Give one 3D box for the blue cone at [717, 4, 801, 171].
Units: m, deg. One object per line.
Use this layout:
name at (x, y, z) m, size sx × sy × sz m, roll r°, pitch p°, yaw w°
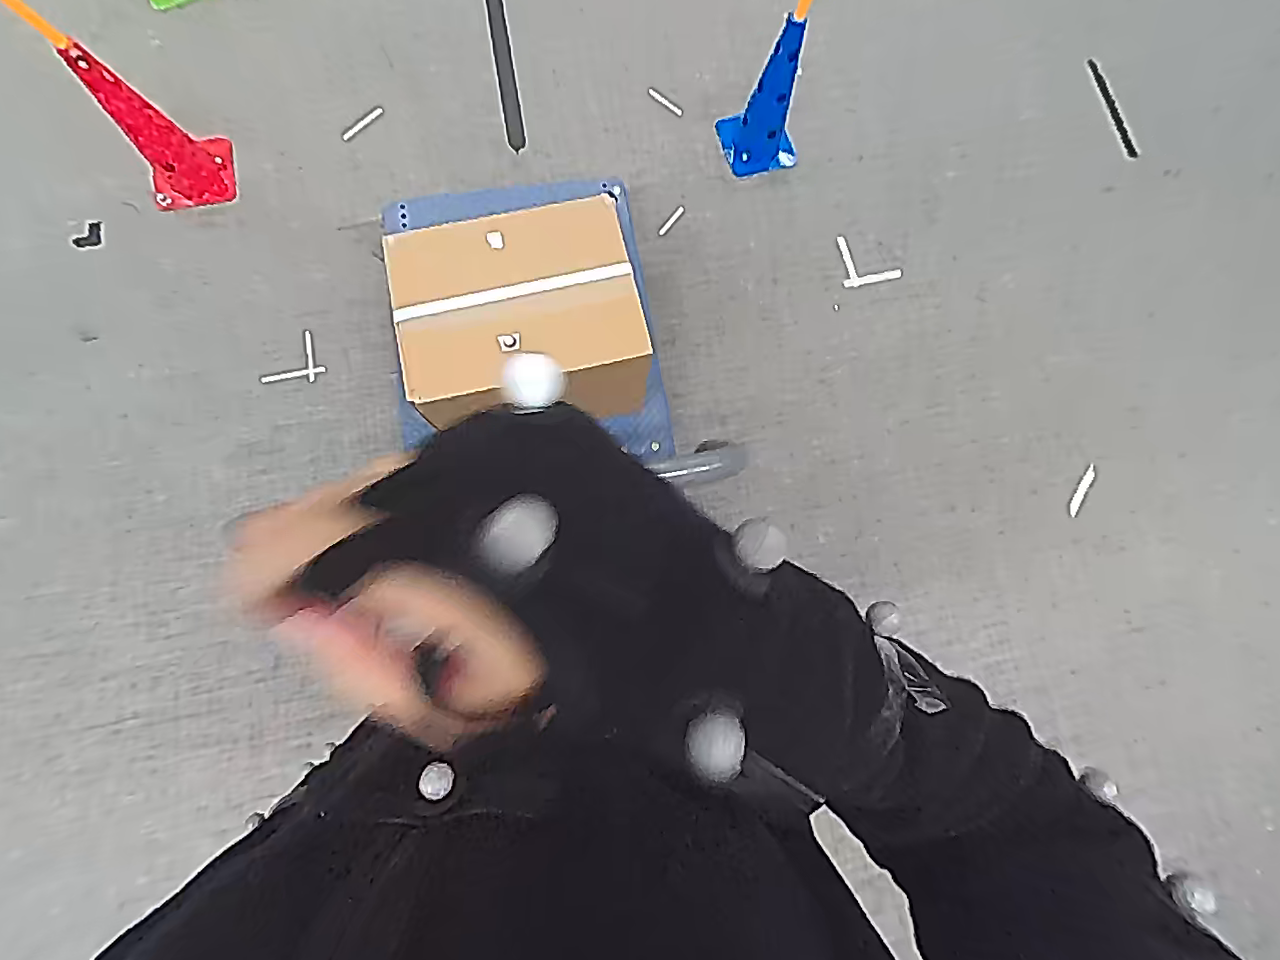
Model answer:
blue cone at (0.345, -1.024, 1.413) m, size 0.193 × 0.380 × 0.192 m, roll -14°, pitch 79°, yaw -7°
